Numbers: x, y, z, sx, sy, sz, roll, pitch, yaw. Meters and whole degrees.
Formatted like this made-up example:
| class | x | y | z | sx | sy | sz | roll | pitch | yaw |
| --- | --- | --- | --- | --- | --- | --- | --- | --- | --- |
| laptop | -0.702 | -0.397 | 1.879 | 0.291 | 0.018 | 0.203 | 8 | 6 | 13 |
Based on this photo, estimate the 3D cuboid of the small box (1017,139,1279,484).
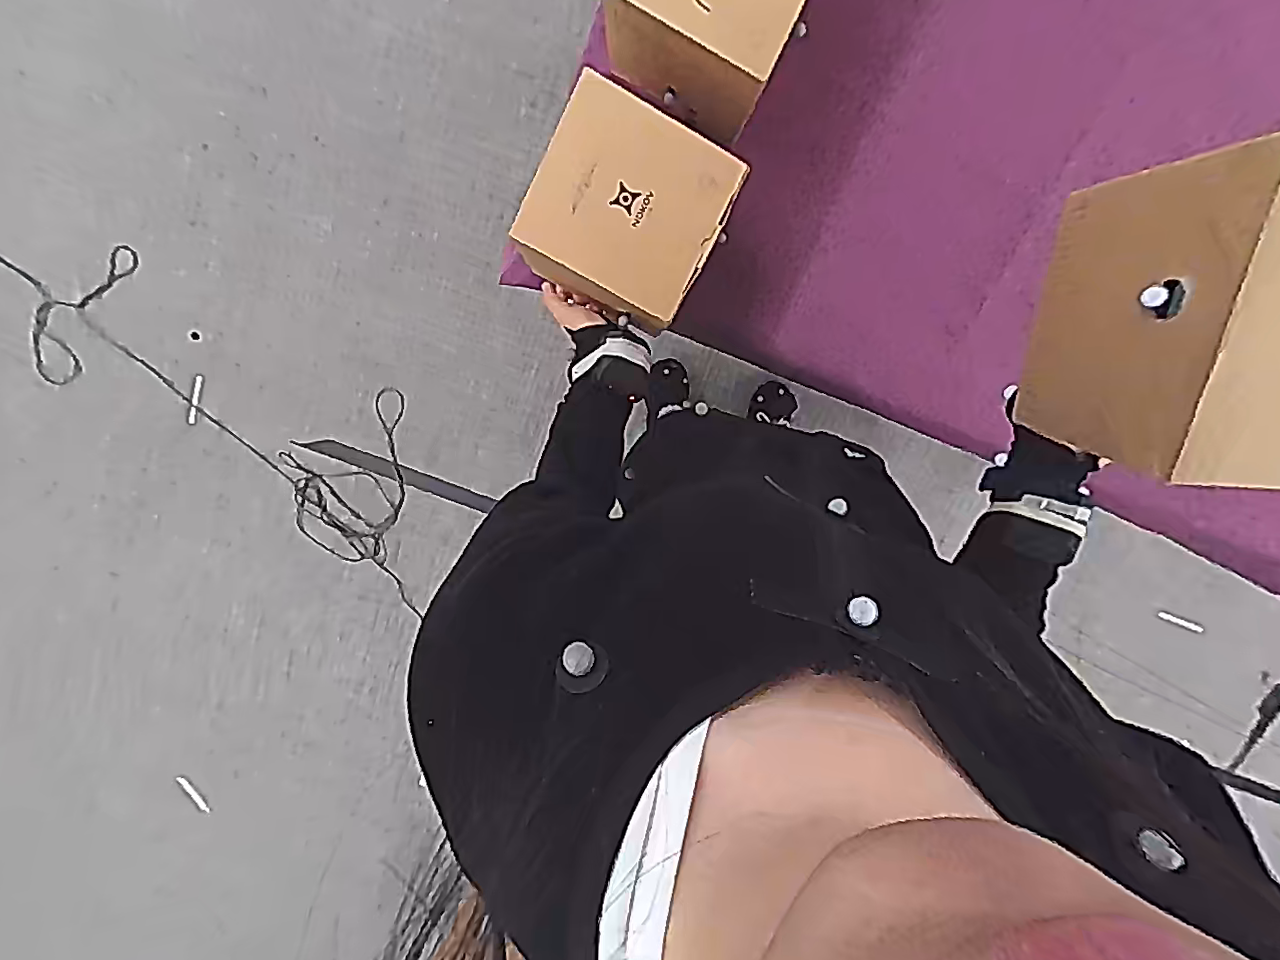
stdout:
| class | x | y | z | sx | sy | sz | roll | pitch | yaw |
| --- | --- | --- | --- | --- | --- | --- | --- | --- | --- |
| small box | 0.389 | -0.103 | 0.352 | 0.168 | 0.176 | 0.179 | 4 | 109 | 5 |

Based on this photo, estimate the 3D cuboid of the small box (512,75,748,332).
| class | x | y | z | sx | sy | sz | roll | pitch | yaw |
| --- | --- | --- | --- | --- | --- | --- | --- | --- | --- |
| small box | -0.013 | -0.276 | 0.591 | 0.179 | 0.176 | 0.168 | 27 | 96 | -7 |
